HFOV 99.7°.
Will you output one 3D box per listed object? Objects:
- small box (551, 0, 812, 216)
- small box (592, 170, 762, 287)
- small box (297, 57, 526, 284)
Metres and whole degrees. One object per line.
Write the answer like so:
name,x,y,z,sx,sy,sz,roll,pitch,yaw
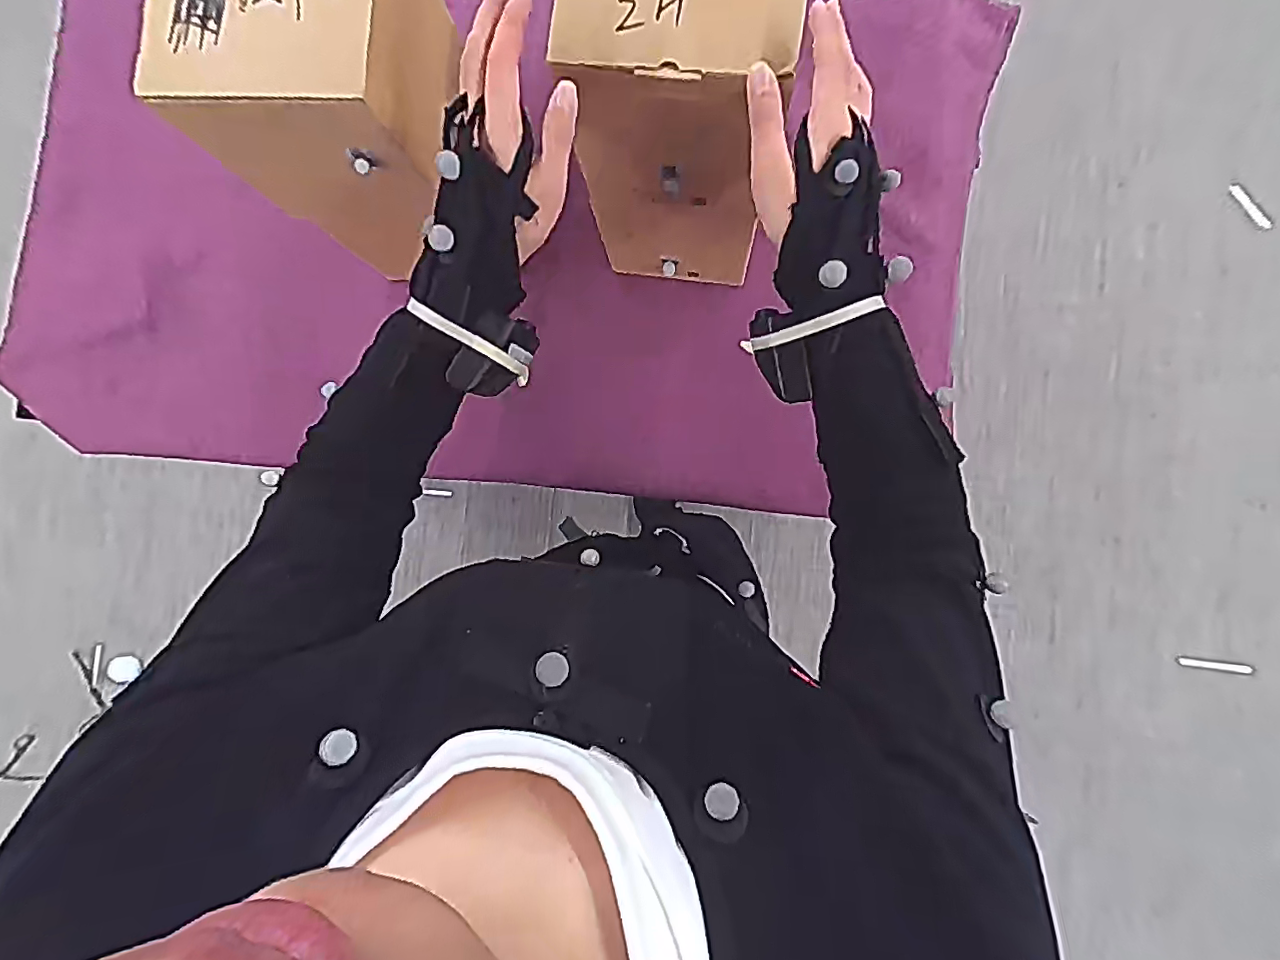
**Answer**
small box,0.041,-0.345,0.430,0.168,0.176,0.179,9,89,7
small box,0.053,-0.338,0.594,0.168,0.176,0.179,9,89,6
small box,-0.248,-0.341,0.625,0.179,0.176,0.168,5,88,5
